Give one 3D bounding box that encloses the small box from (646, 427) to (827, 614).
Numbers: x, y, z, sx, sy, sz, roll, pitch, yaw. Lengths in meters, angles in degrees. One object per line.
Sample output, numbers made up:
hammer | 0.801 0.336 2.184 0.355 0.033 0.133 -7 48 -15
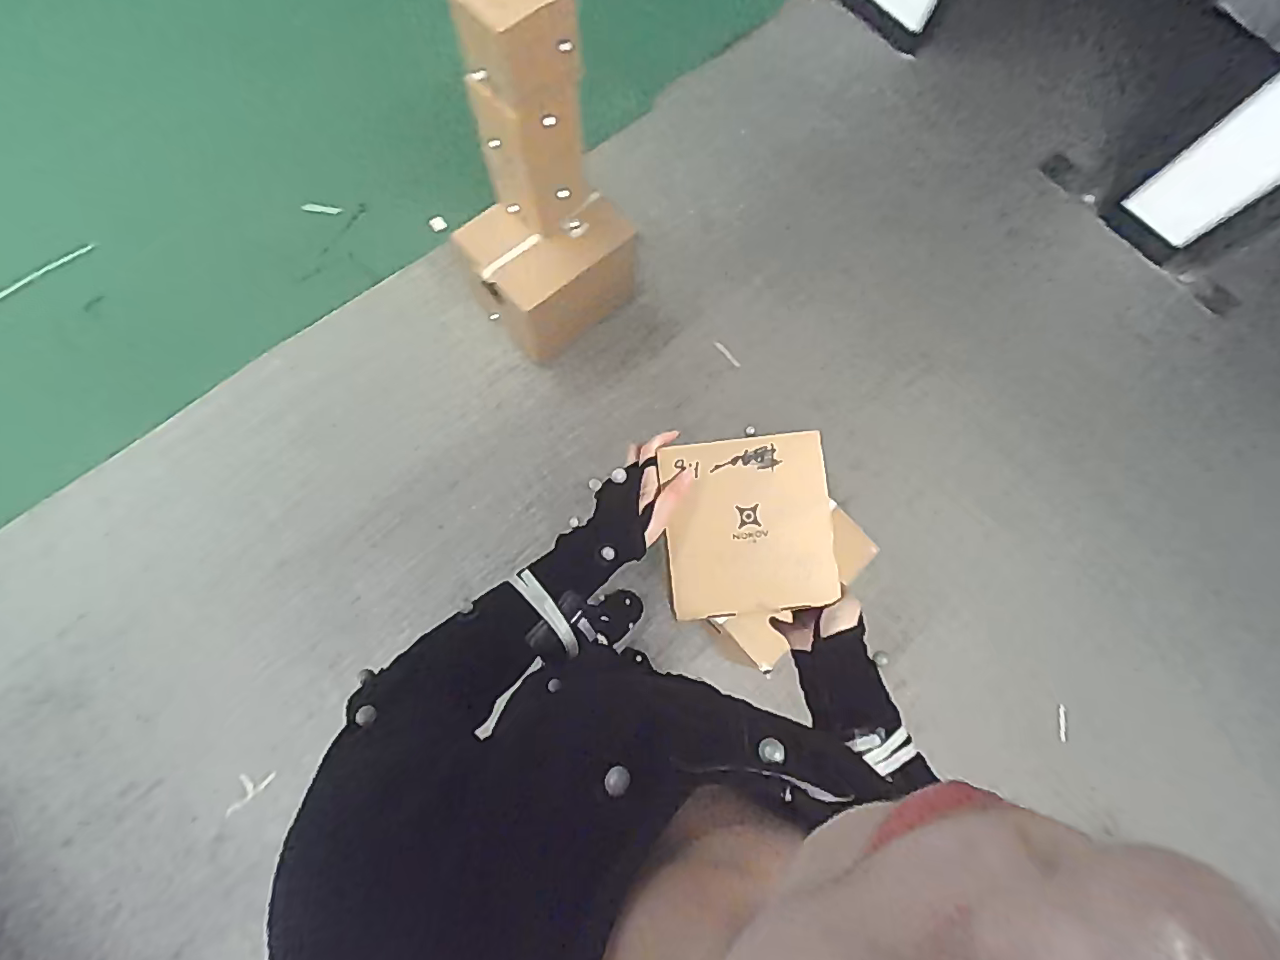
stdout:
small box | 0.098 0.040 0.618 0.168 0.176 0.179 -6 89 -1
